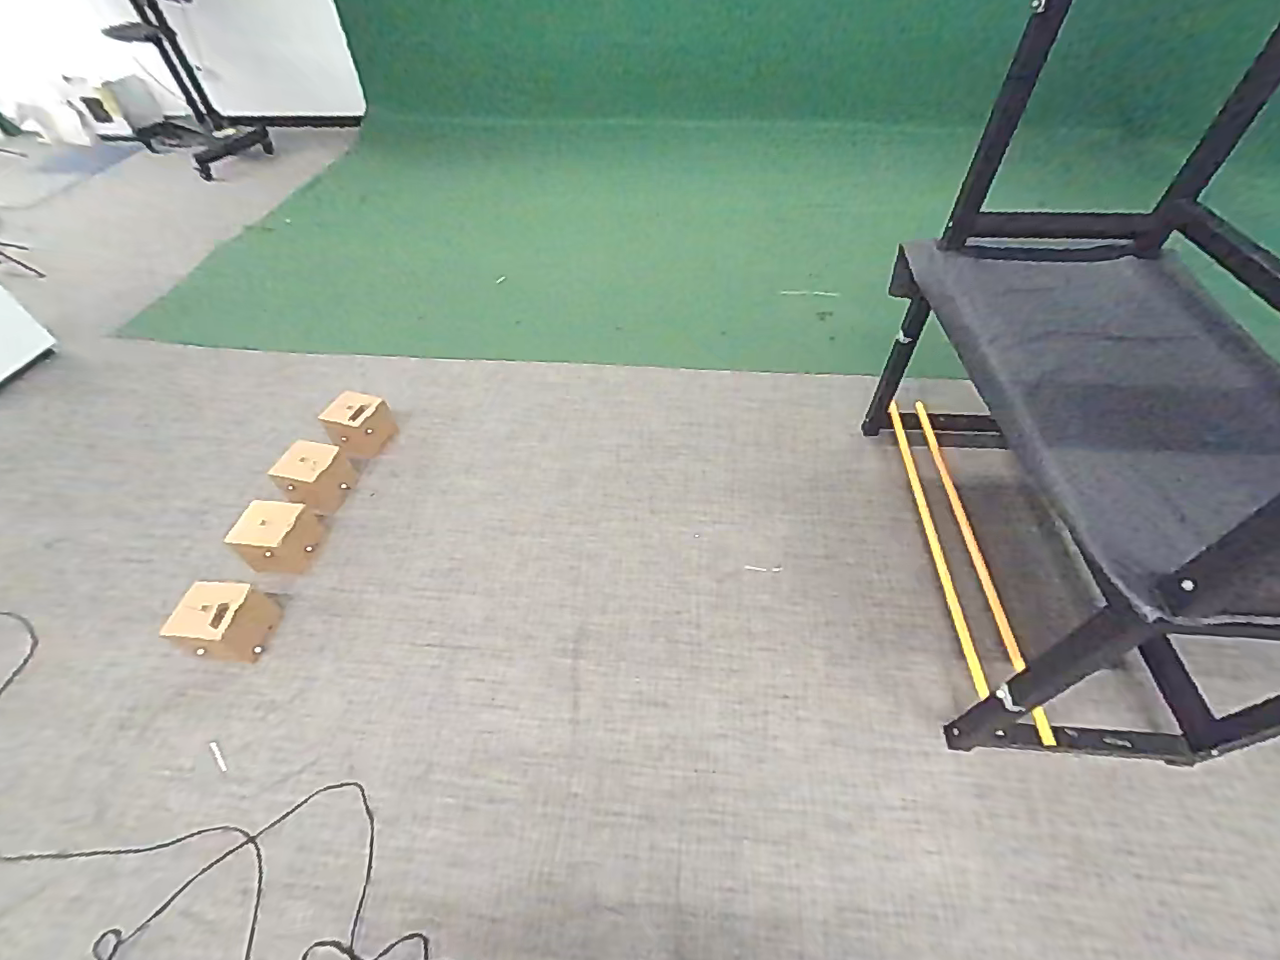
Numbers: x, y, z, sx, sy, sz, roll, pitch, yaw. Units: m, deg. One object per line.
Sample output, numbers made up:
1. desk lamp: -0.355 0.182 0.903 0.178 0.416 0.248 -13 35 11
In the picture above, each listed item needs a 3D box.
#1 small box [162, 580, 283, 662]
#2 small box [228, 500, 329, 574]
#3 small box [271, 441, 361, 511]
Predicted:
1. small box: -1.166 0.402 1.530 0.179 0.176 0.168 3 49 5
2. small box: -1.140 0.185 1.721 0.179 0.176 0.168 4 49 4
3. small box: -1.122 -0.010 1.887 0.179 0.176 0.168 11 51 9
